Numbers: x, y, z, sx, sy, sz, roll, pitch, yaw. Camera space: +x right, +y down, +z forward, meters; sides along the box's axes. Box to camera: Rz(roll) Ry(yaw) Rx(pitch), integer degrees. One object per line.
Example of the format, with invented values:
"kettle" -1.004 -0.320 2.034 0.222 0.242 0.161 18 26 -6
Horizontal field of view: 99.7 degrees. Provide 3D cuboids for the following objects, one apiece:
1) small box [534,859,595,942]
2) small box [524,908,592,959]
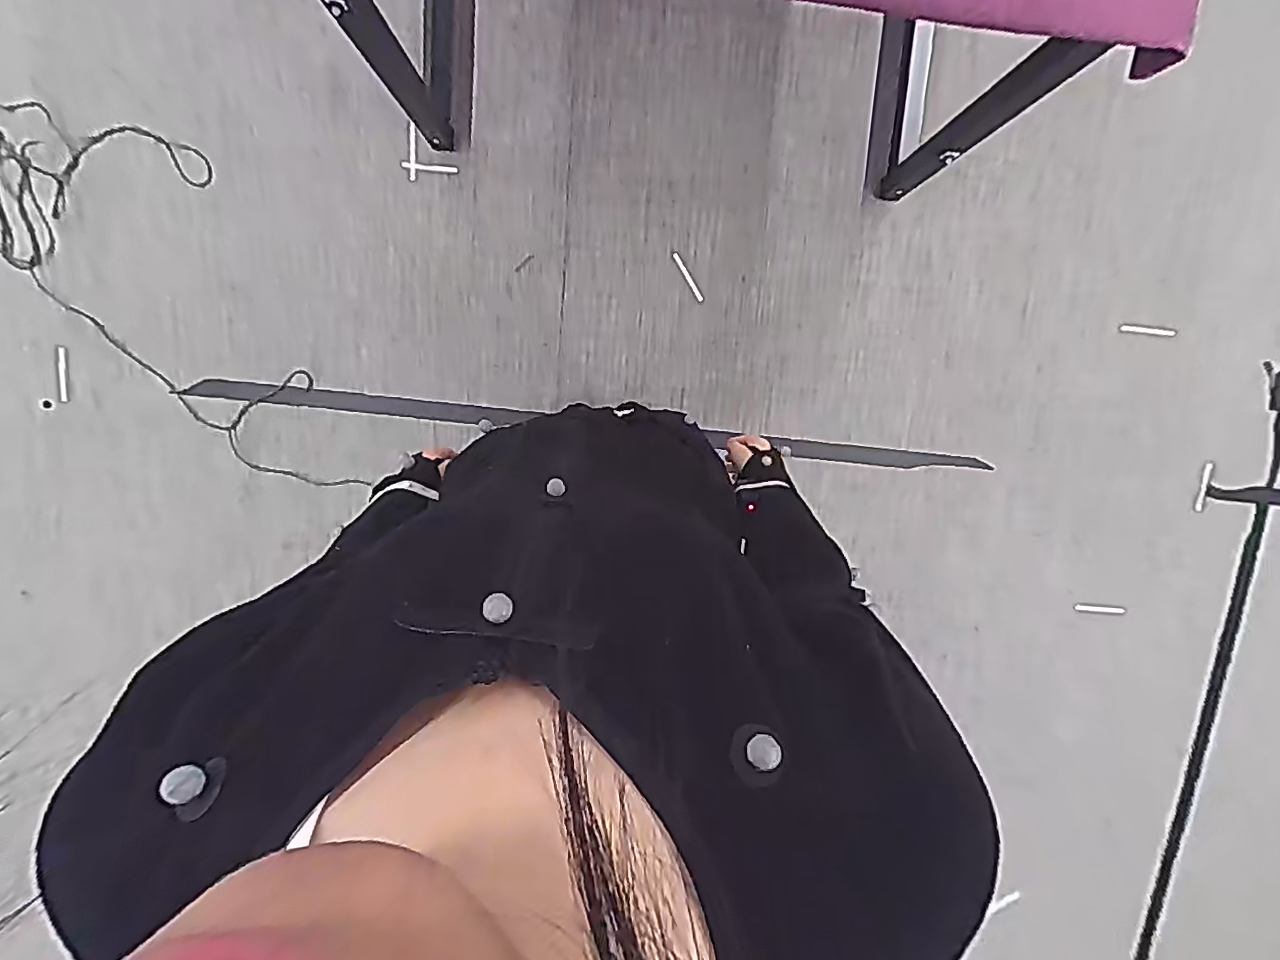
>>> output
"small box" -0.220 1.261 1.598 0.168 0.176 0.179 1 99 -2
"small box" -0.214 1.290 1.437 0.168 0.176 0.179 0 100 -2
